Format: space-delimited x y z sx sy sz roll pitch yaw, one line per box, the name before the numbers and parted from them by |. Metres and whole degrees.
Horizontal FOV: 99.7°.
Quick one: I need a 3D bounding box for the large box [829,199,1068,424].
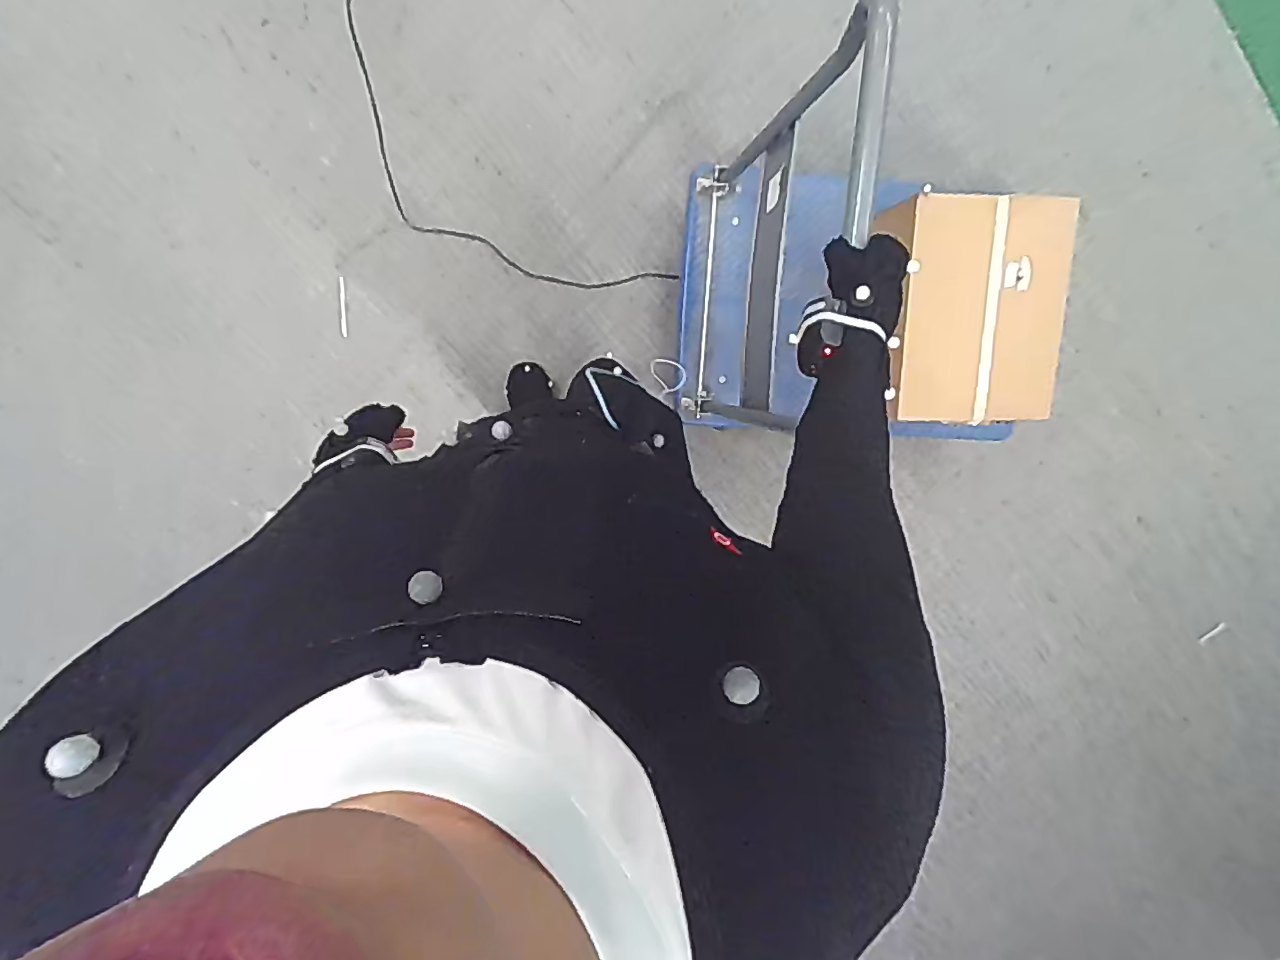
large box | 0.618 -0.330 1.150 0.320 0.320 0.408 -1 100 -6
